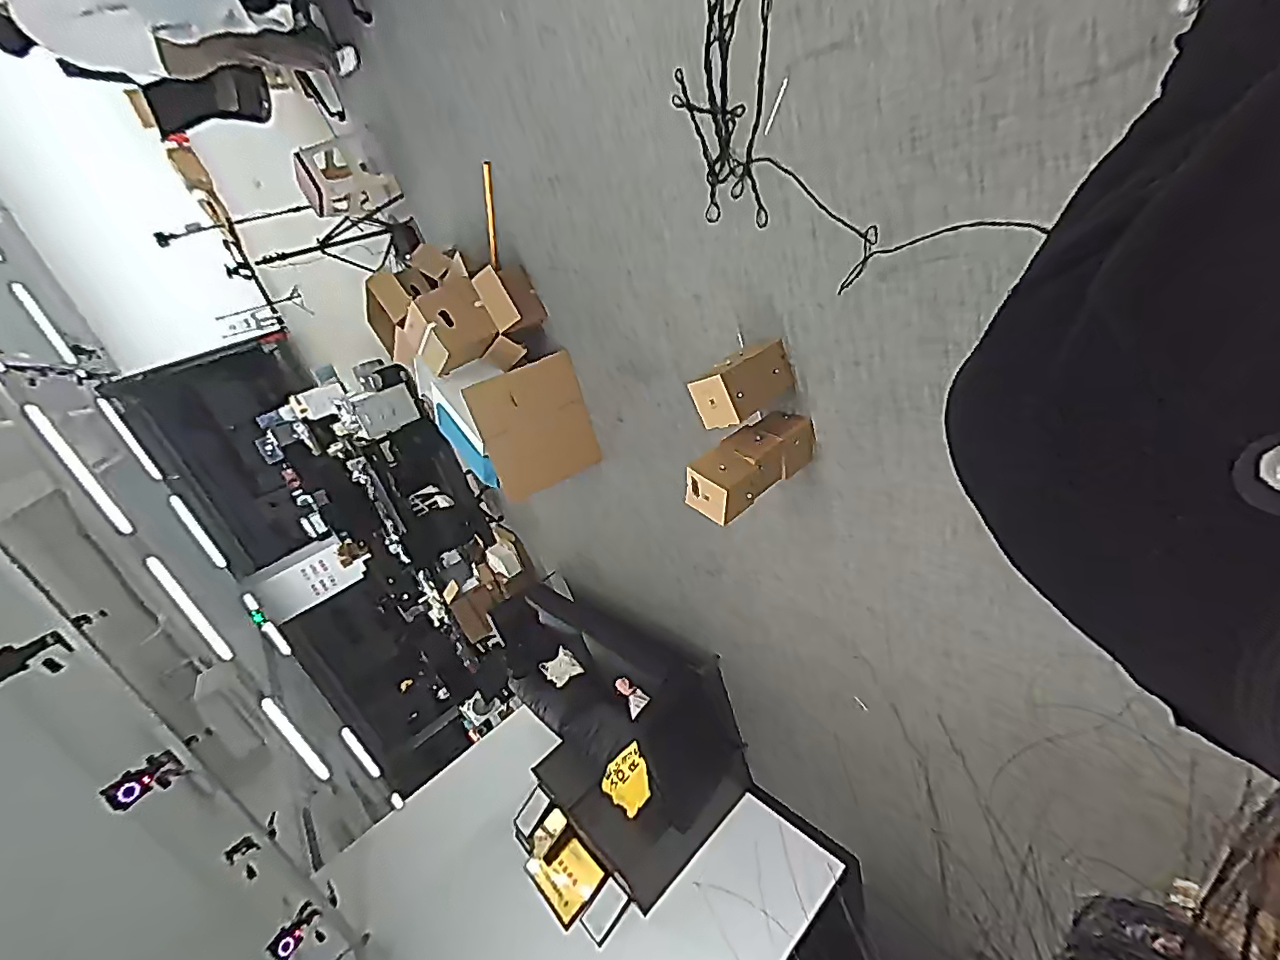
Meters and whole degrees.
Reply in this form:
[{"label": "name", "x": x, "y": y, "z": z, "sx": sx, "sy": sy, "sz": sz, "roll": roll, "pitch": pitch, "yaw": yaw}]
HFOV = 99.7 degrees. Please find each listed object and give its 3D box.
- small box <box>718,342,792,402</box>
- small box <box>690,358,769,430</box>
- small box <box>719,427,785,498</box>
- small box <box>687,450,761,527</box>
[{"label": "small box", "x": 0.414, "y": -0.373, "z": 1.908, "sx": 0.179, "sy": 0.176, "sz": 0.168, "roll": 3, "pitch": 121, "yaw": 55}, {"label": "small box", "x": 0.306, "y": -0.288, "z": 1.820, "sx": 0.168, "sy": 0.176, "sz": 0.179, "roll": -4, "pitch": 115, "yaw": 56}, {"label": "small box", "x": 0.395, "y": -0.060, "z": 1.912, "sx": 0.168, "sy": 0.176, "sz": 0.179, "roll": 31, "pitch": 140, "yaw": 39}, {"label": "small box", "x": 0.281, "y": 0.020, "z": 1.825, "sx": 0.179, "sy": 0.176, "sz": 0.168, "roll": 34, "pitch": 142, "yaw": 34}]
